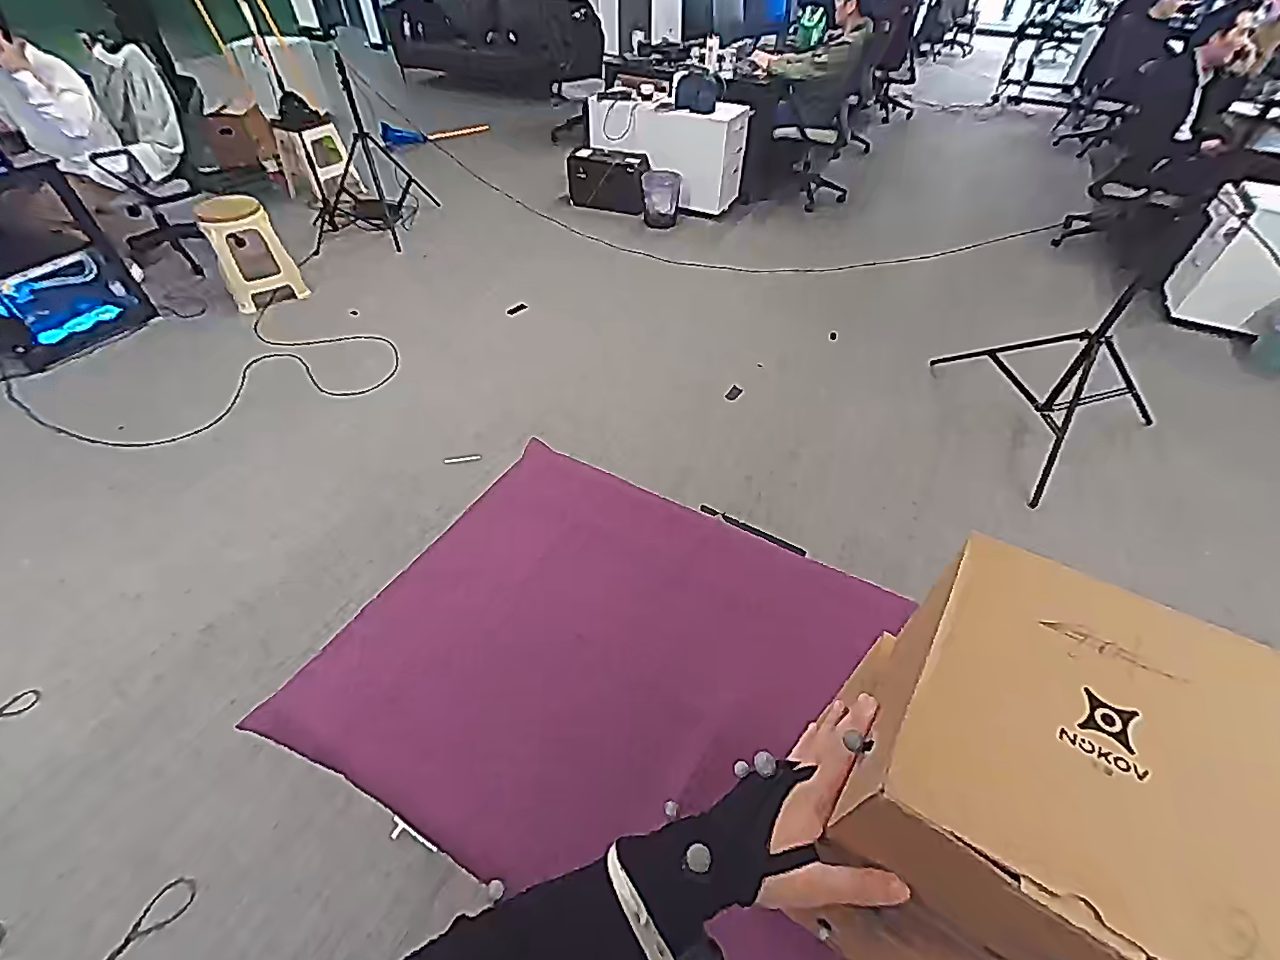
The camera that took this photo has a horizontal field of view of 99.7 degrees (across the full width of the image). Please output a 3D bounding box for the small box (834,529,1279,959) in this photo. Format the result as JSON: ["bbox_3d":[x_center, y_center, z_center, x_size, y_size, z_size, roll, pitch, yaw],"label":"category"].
[{"bbox_3d":[0.231,0.169,0.322,0.168,0.176,0.179,25,56,23],"label":"small box"}]

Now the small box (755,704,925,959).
[{"bbox_3d":[0.237,0.391,0.589,0.168,0.176,0.179,25,51,20],"label":"small box"}]

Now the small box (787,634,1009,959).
[{"bbox_3d":[0.245,0.277,0.471,0.168,0.176,0.179,25,52,21],"label":"small box"}]
